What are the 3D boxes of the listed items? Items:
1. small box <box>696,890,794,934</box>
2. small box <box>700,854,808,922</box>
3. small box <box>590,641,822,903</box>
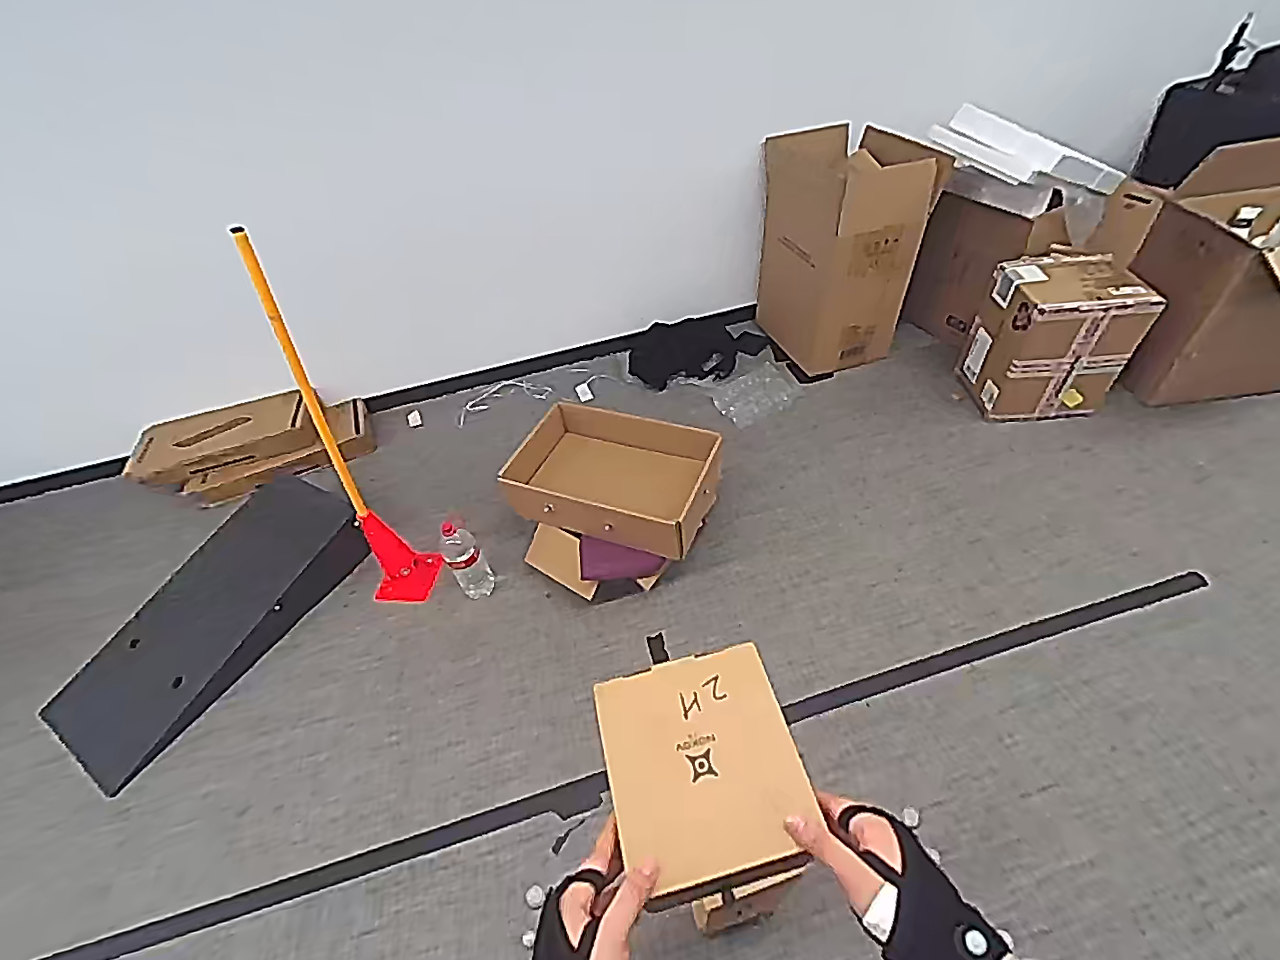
[{"bbox_3d":[0.176,0.732,1.041,0.168,0.176,0.179,-16,44,-7],"label":"small box"},{"bbox_3d":[0.163,0.615,0.925,0.168,0.176,0.179,-16,46,-8],"label":"small box"},{"bbox_3d":[0.058,0.292,0.535,0.168,0.176,0.179,-14,48,-5],"label":"small box"}]
